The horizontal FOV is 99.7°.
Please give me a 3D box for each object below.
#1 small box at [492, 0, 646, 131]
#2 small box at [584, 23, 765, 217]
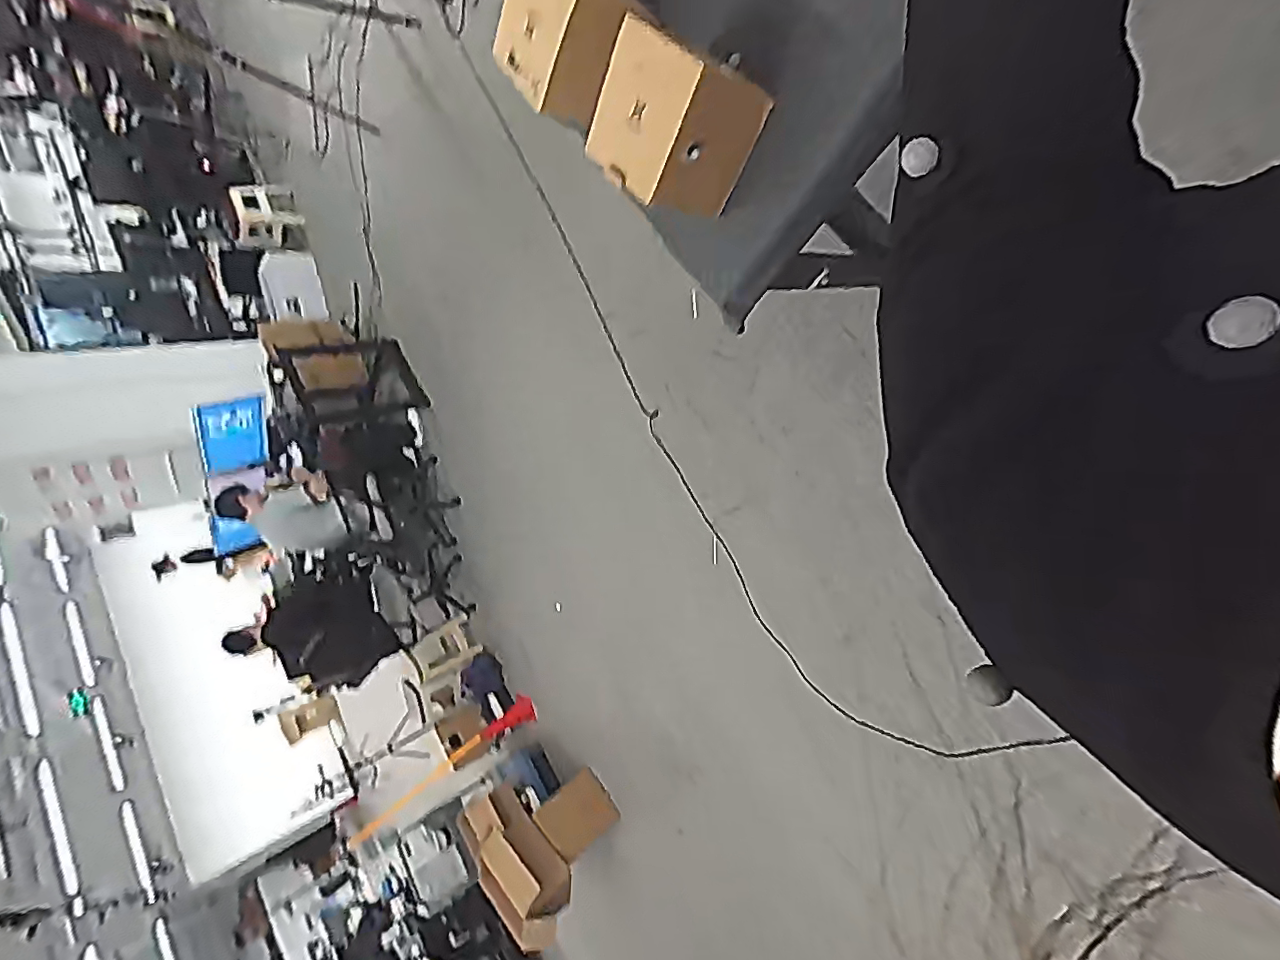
[{"bbox_3d":[-0.111,-0.715,0.891,0.168,0.176,0.179,56,135,16],"label":"small box"},{"bbox_3d":[0.051,-0.512,0.794,0.168,0.176,0.179,49,132,22],"label":"small box"}]
